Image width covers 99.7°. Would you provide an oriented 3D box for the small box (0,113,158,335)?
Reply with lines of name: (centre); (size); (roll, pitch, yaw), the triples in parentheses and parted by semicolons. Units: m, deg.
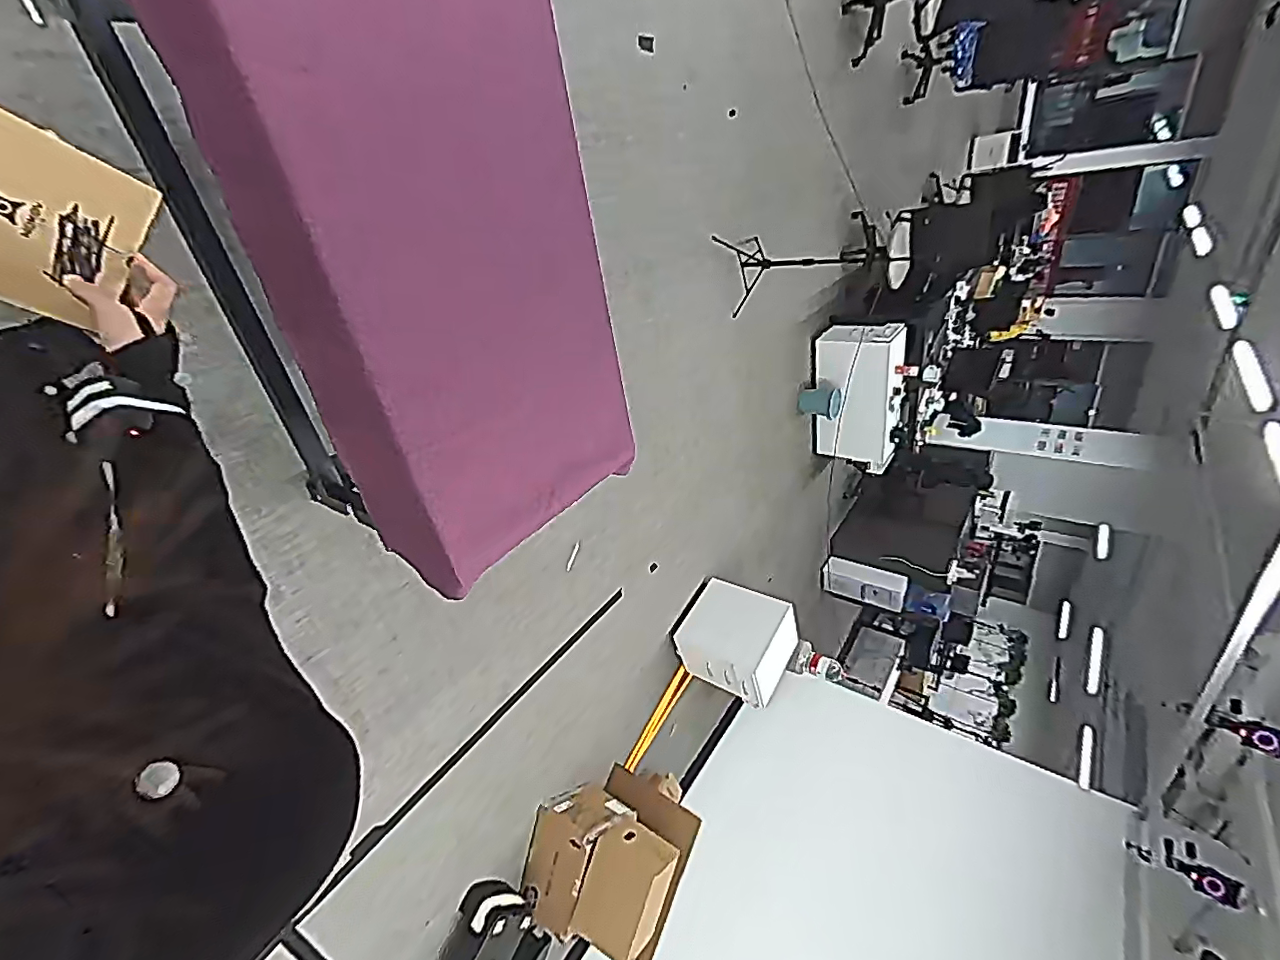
small box: (-0.661, -0.272, 0.552); (0.179, 0.176, 0.168); (25, 84, -62)
